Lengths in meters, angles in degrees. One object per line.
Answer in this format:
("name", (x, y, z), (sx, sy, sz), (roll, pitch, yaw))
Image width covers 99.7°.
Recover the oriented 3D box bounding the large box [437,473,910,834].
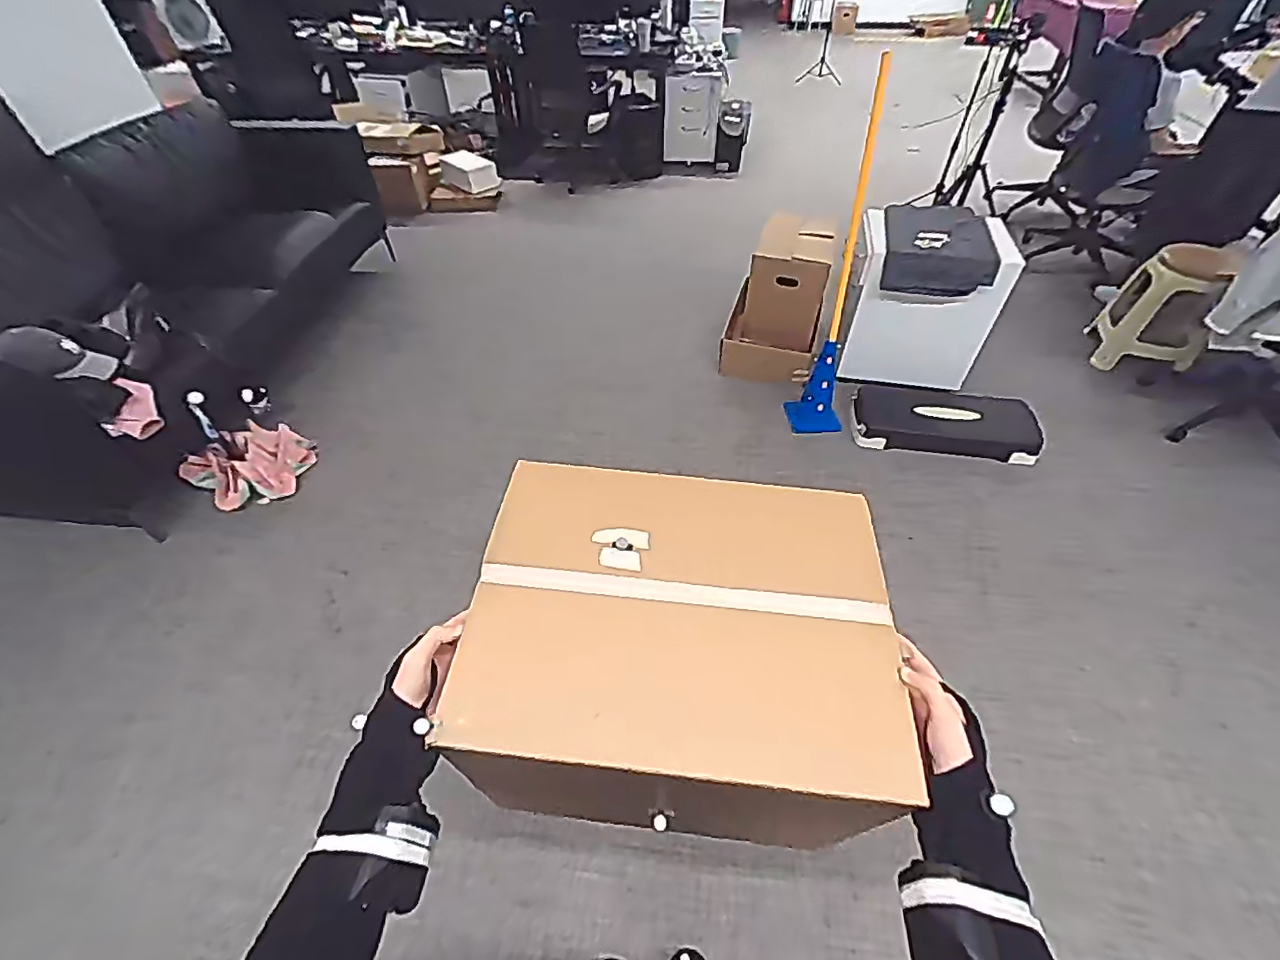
("large box", (0.038, 0.217, 0.656), (0.408, 0.320, 0.320), (5, 50, 3))
